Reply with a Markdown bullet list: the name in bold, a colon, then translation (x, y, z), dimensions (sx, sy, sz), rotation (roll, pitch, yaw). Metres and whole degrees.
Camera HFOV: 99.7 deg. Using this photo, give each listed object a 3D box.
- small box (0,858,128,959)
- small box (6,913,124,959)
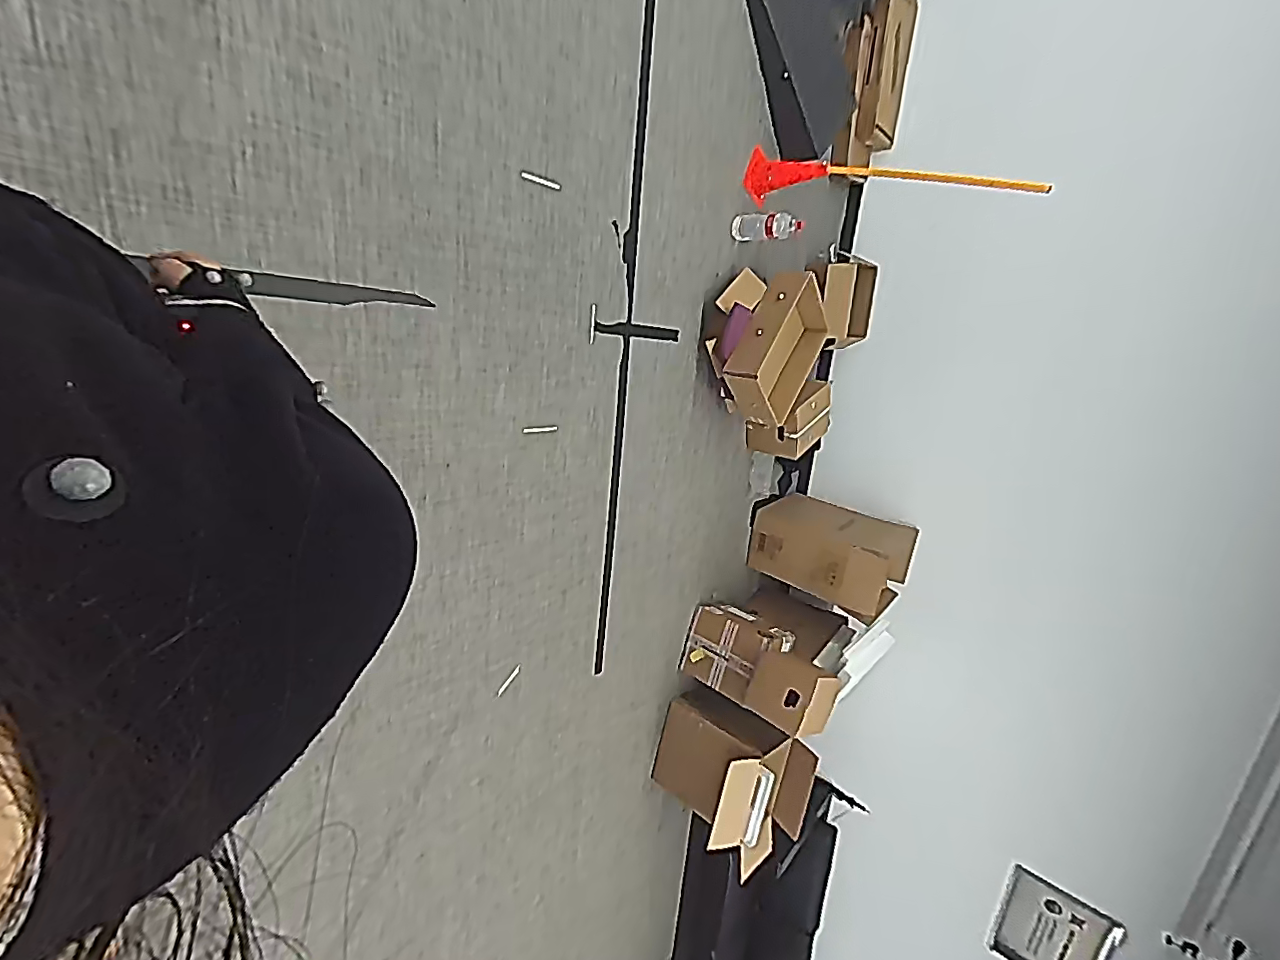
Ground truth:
- **small box**: translation (-1.249, 0.958, 1.151), dimensions (0.168, 0.176, 0.179), rotation (-29, 125, -42)
- **small box**: translation (-1.129, 1.005, 1.048), dimensions (0.168, 0.176, 0.179), rotation (-30, 126, -43)
